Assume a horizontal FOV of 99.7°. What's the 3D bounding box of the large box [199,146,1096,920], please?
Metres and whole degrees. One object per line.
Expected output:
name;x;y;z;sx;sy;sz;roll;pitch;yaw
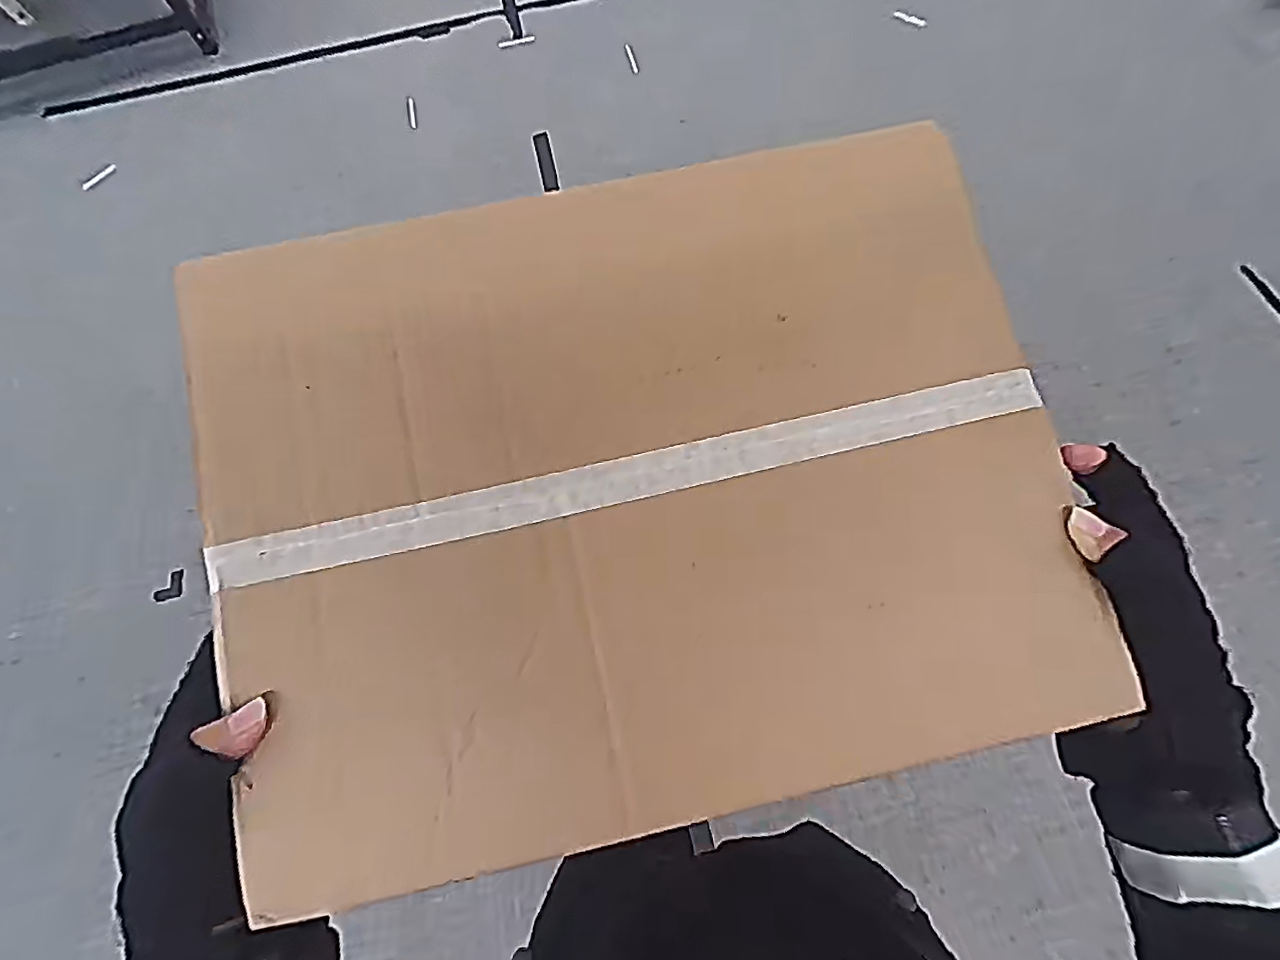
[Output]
large box;-0.005;0.026;0.418;0.408;0.320;0.320;-13;81;-2
